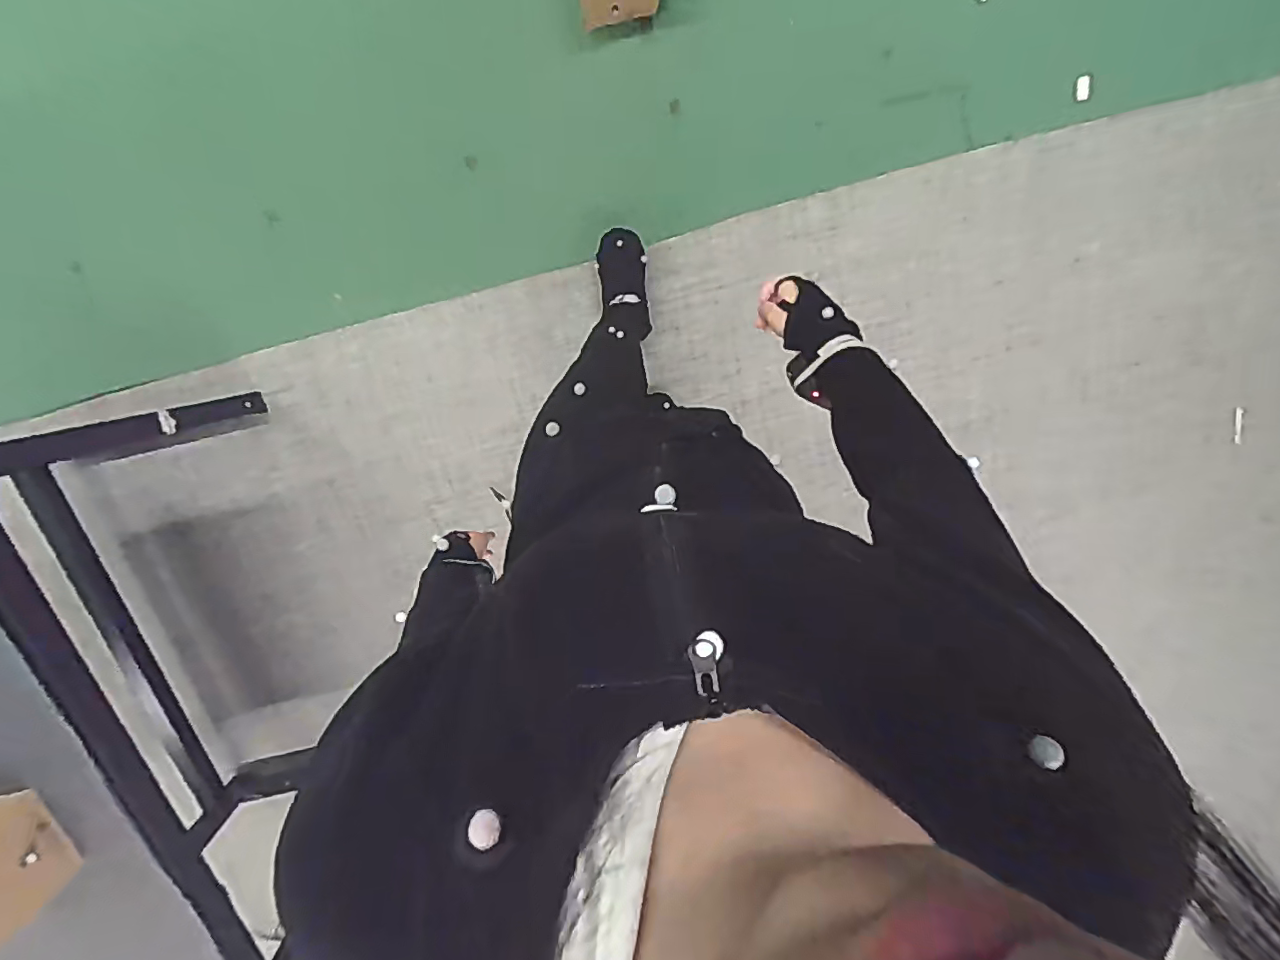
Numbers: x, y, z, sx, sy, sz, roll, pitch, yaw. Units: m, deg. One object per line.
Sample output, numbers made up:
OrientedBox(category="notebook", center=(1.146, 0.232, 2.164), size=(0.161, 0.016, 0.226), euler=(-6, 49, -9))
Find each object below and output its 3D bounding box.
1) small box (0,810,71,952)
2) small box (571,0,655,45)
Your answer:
OrientedBox(category="small box", center=(-1.017, 0.623, 0.784), size=(0.179, 0.176, 0.168), euler=(-14, 106, 2))
OrientedBox(category="small box", center=(-0.068, -1.060, 1.125), size=(0.168, 0.176, 0.179), euler=(-12, 106, 1))
